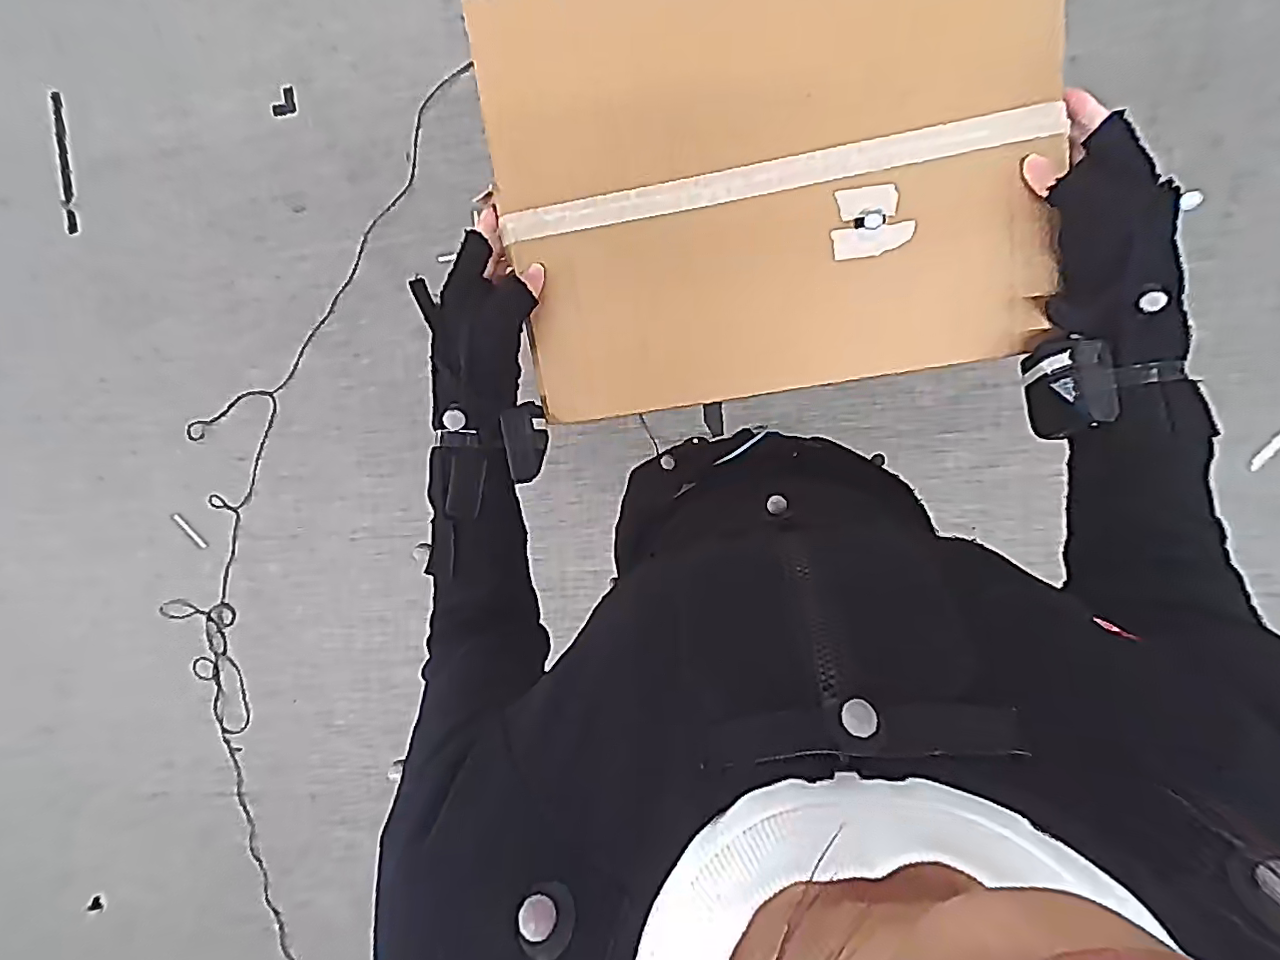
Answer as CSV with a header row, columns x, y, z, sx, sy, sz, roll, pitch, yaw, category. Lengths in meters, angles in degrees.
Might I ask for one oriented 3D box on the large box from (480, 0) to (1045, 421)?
x,y,z,sx,sy,sz,roll,pitch,yaw,category
0.106,-0.257,0.560,0.408,0.320,0.320,-8,102,6,large box
